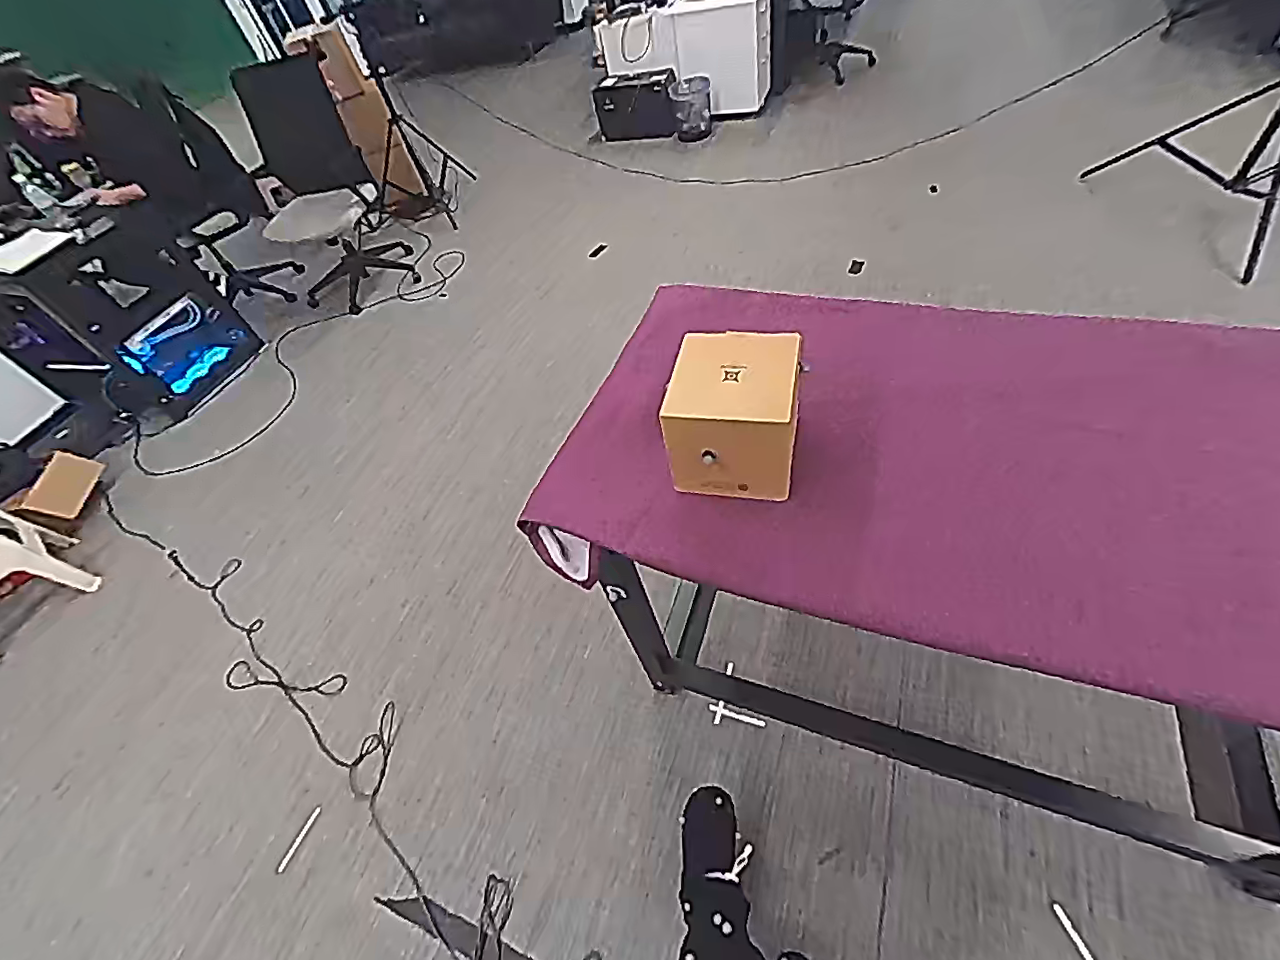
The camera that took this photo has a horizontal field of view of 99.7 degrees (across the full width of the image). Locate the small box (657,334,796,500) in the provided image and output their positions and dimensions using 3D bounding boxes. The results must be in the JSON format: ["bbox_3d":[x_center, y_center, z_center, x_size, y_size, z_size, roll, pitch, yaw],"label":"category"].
[{"bbox_3d":[0.135,-0.089,0.785,0.168,0.176,0.179,5,52,17],"label":"small box"}]
